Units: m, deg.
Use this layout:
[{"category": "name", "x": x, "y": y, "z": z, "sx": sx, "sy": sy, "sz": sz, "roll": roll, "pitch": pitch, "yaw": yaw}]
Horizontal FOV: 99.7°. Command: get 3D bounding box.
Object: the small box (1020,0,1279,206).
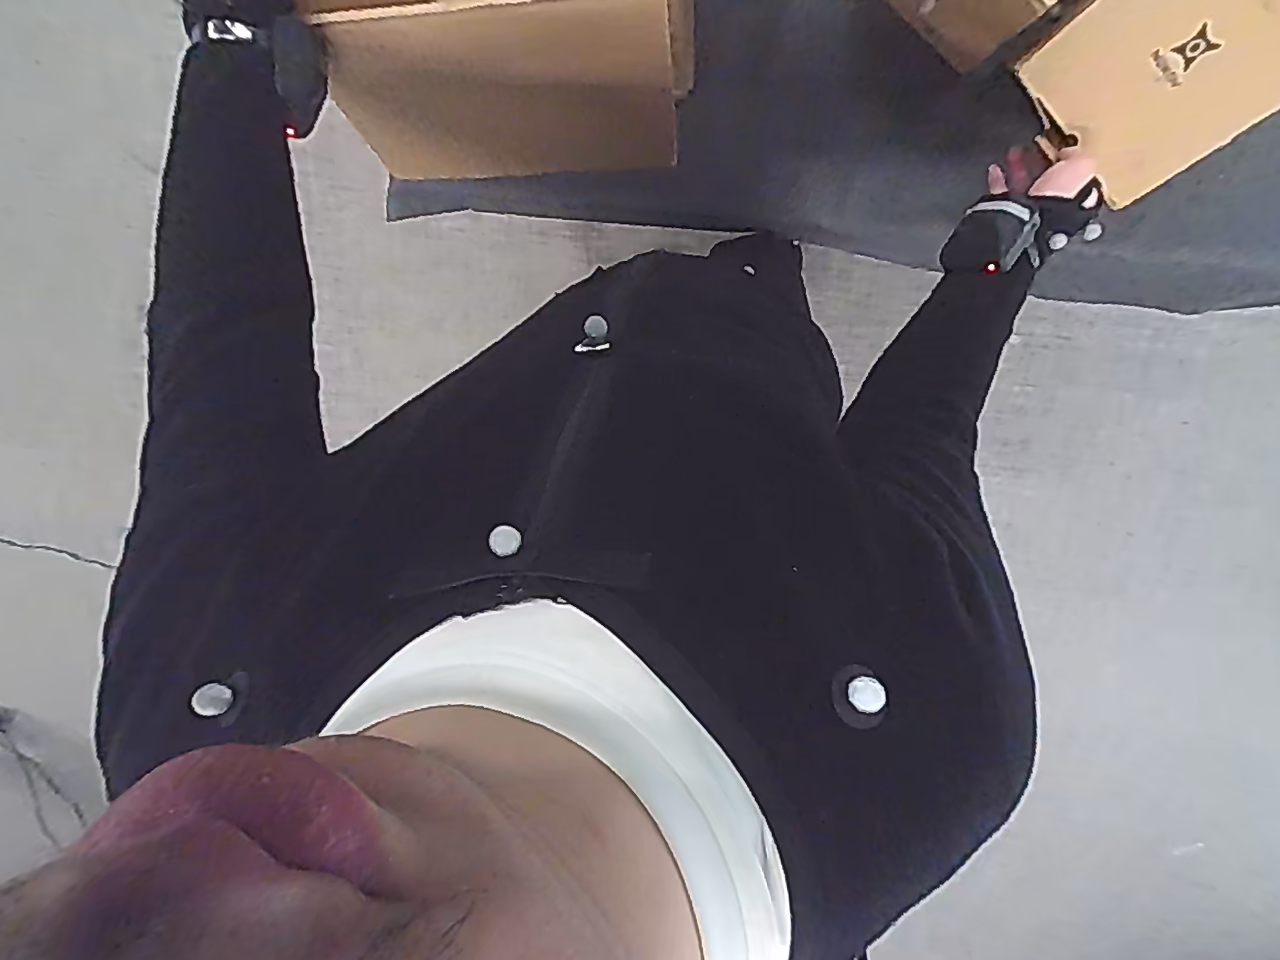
[{"category": "small box", "x": 0.480, "y": -0.394, "z": 0.489, "sx": 0.168, "sy": 0.176, "sz": 0.179, "roll": 43, "pitch": 136, "yaw": -9}]
